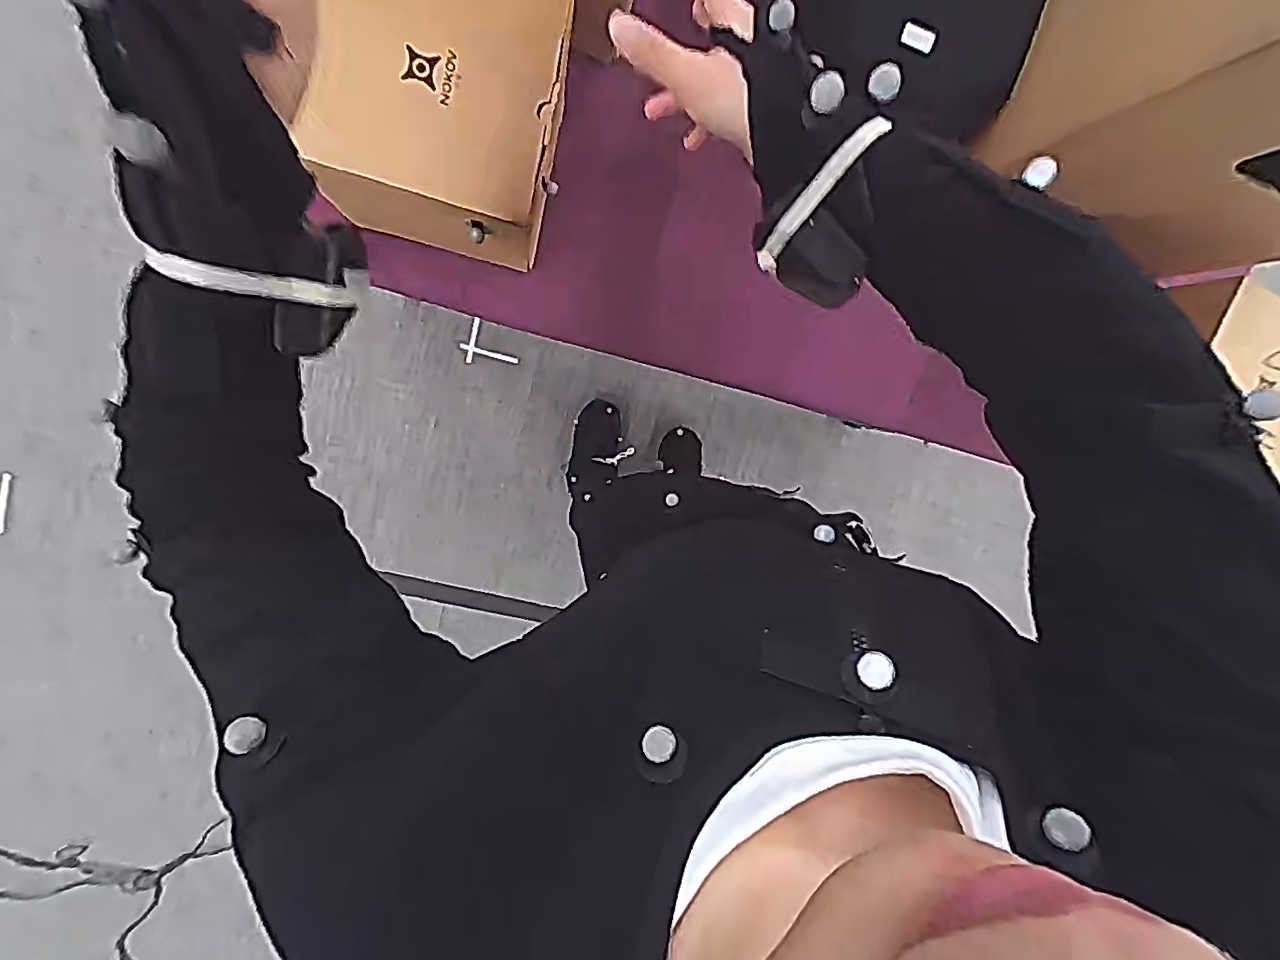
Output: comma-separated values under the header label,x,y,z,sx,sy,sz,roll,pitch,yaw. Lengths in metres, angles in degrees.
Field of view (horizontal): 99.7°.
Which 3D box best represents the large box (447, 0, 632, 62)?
label,x,y,z,sx,sy,sz,roll,pitch,yaw
large box,-0.095,-0.611,0.346,0.320,0.320,0.408,13,101,-12
